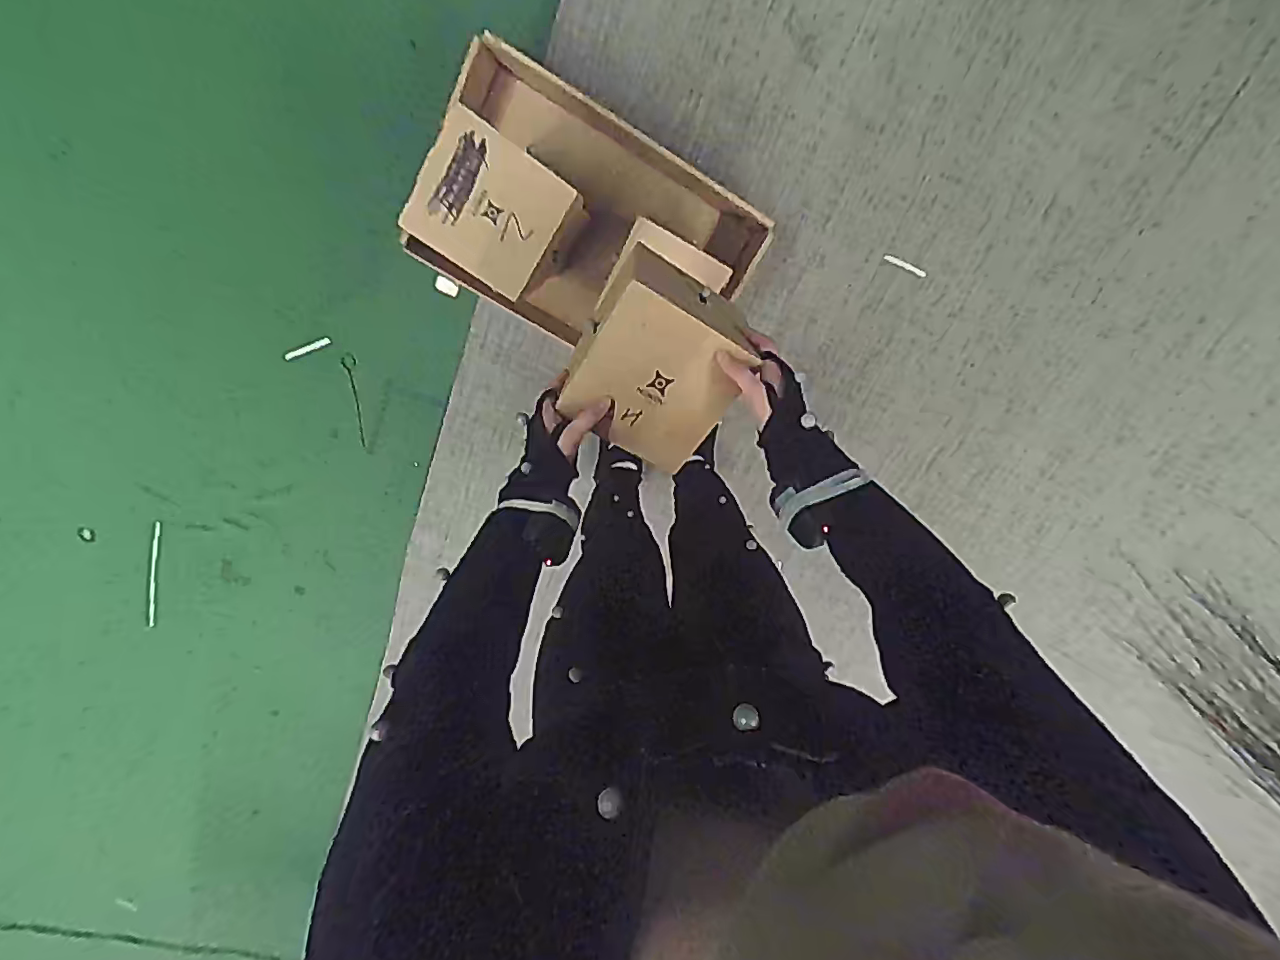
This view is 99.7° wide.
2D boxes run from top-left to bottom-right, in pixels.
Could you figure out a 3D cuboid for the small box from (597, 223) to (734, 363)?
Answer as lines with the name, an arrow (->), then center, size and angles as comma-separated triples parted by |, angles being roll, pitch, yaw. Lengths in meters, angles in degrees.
small box -> 0.043, -0.334, 0.961 | 0.179, 0.176, 0.168 | 27, 110, -9
